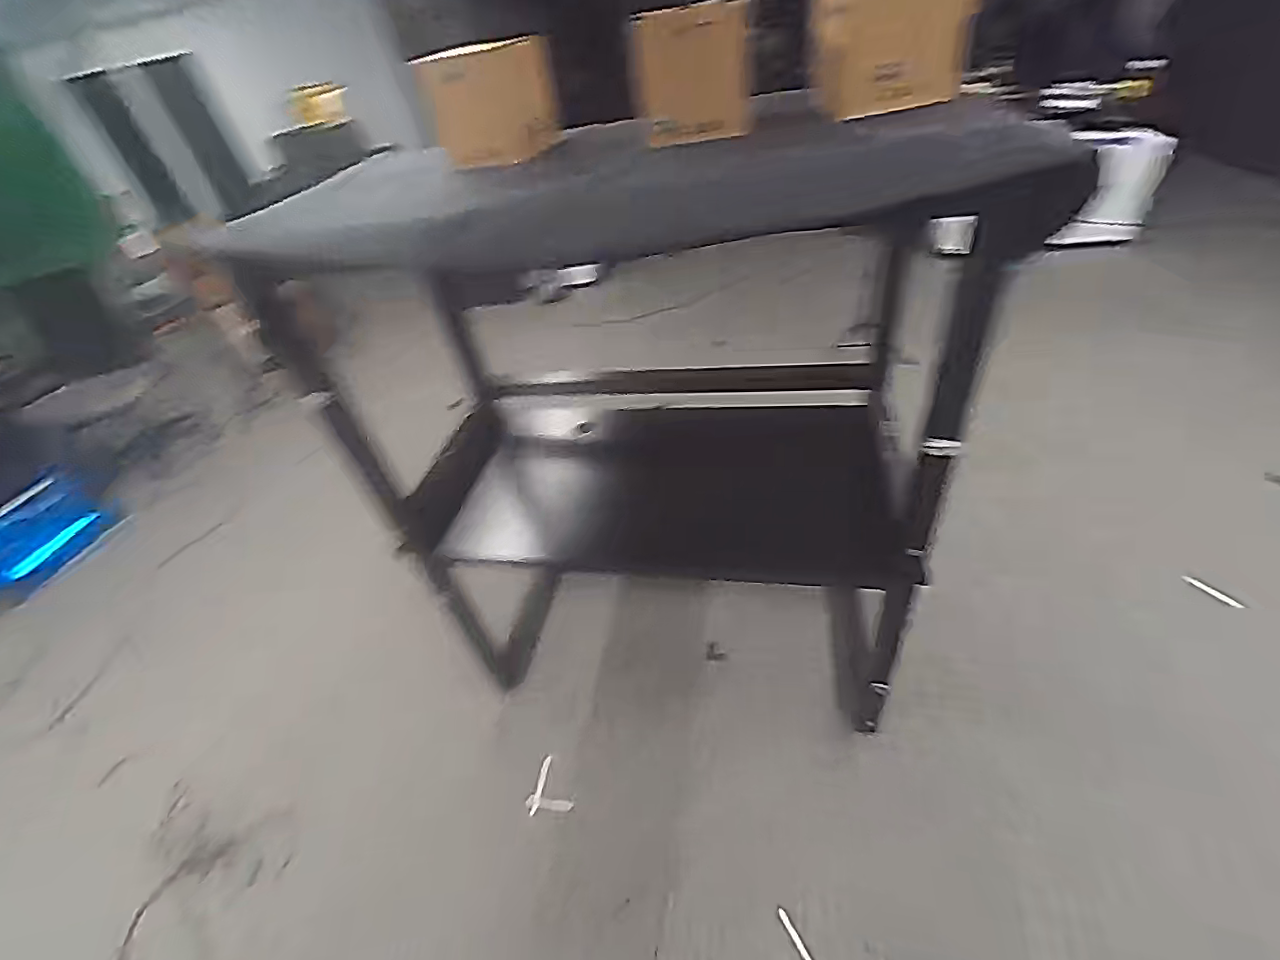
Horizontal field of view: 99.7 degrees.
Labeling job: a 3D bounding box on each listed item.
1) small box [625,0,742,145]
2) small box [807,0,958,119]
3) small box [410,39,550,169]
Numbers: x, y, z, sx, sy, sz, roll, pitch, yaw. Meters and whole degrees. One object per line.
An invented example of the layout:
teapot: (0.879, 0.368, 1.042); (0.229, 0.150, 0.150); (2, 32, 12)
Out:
small box: (0.081, -0.666, 0.890); (0.168, 0.176, 0.179); (-1, 41, 12)
small box: (0.363, -0.682, 0.841); (0.168, 0.176, 0.179); (-8, 43, 5)
small box: (-0.280, -0.690, 0.998); (0.168, 0.176, 0.179); (4, 43, 17)
